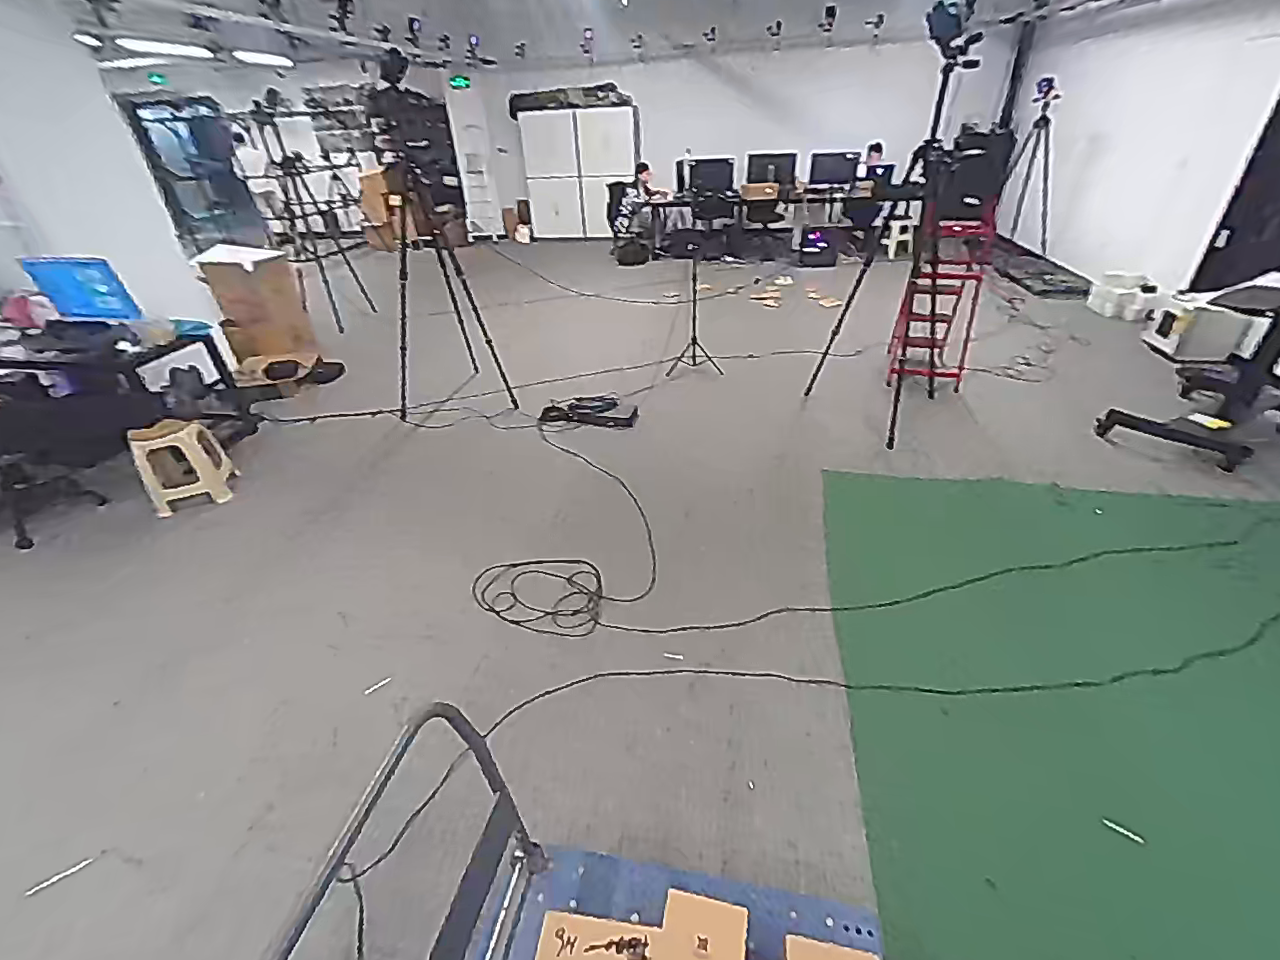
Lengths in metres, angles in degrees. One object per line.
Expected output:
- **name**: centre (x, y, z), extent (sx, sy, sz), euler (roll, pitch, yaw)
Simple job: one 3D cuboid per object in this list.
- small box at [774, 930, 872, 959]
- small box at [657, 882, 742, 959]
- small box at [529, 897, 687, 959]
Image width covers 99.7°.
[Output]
- **small box**: centre (0.342, 1.001, 1.023), extent (0.179, 0.176, 0.168), euler (5, 35, 12)
- **small box**: centre (0.109, 0.966, 1.092), extent (0.168, 0.176, 0.179), euler (6, 35, 14)
- **small box**: centre (-0.043, 0.593, 0.582), extent (0.168, 0.176, 0.179), euler (7, 38, 6)
